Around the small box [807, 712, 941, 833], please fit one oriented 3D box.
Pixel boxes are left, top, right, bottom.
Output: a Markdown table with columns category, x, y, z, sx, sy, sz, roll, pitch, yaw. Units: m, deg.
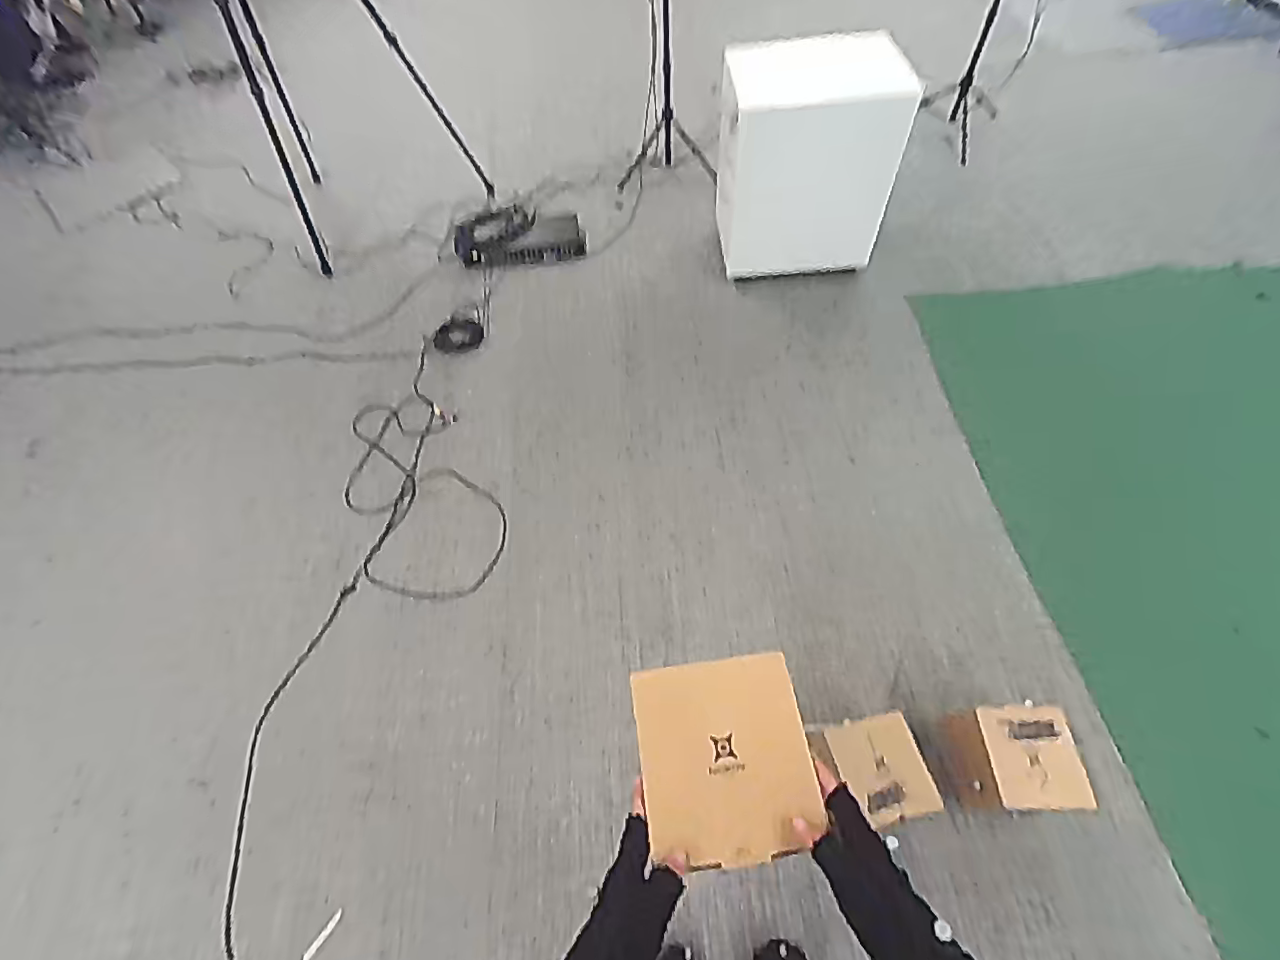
| category | x | y | z | sx | sy | sz | roll | pitch | yaw |
| --- | --- | --- | --- | --- | --- | --- | --- | --- | --- |
| small box | 0.455 | 0.586 | 1.083 | 0.168 | 0.176 | 0.179 | -12 | 57 | -4 |

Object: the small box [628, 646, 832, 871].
| category | x | y | z | sx | sy | sz | roll | pitch | yaw |
| --- | --- | --- | --- | --- | --- | --- | --- | --- | --- |
| small box | 0.079 | 0.298 | 0.581 | 0.168 | 0.176 | 0.179 | -8 | 58 | -3 |
